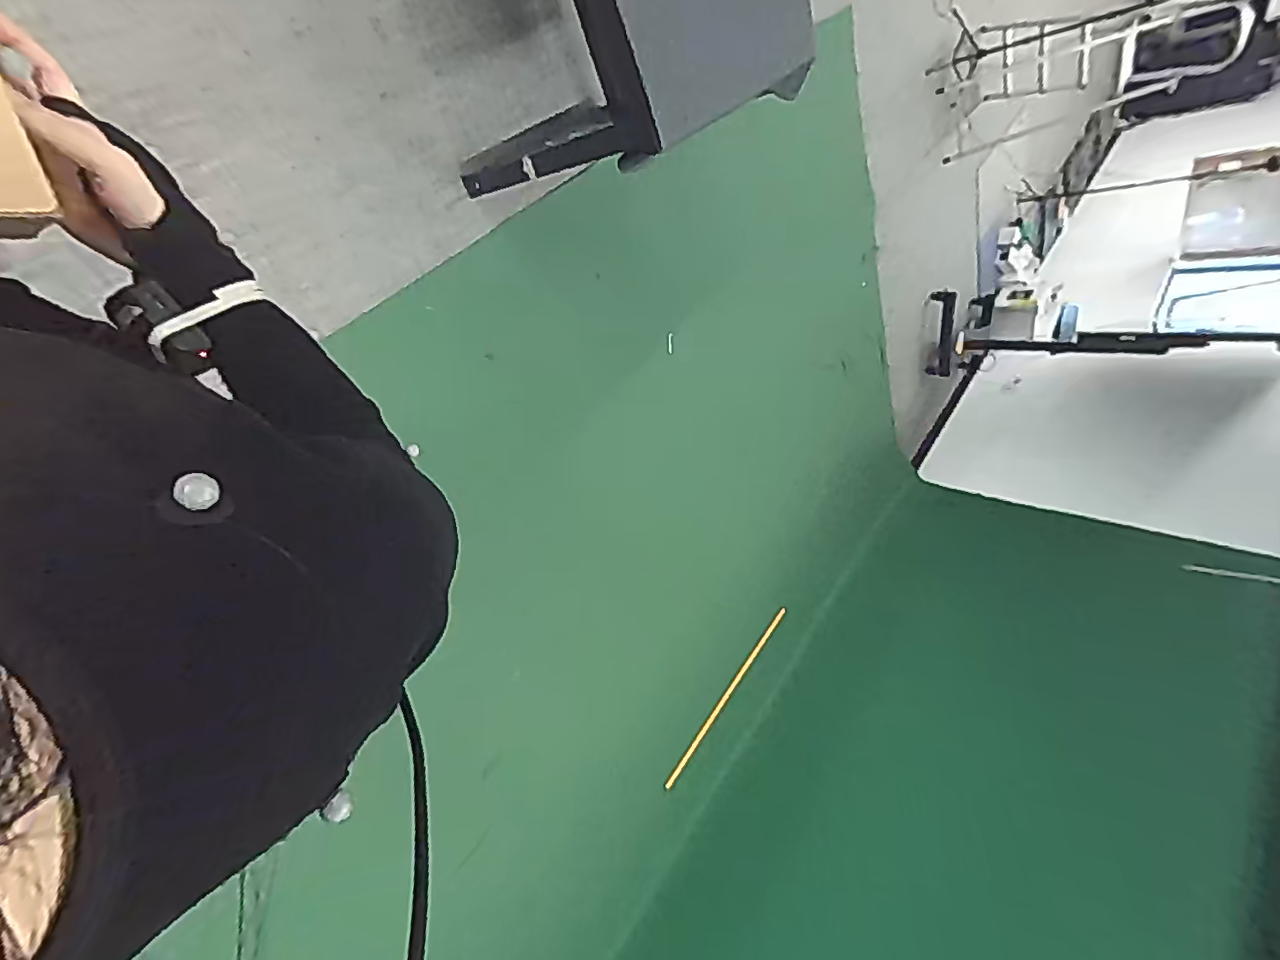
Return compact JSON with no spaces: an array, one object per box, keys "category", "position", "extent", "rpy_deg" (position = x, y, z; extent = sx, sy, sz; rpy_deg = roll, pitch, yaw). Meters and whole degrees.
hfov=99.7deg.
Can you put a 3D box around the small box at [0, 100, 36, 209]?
[{"category":"small box","position":[-0.439,-0.223,0.245],"extent":[0.168,0.176,0.179],"rpy_deg":[-28,126,-45]}]
